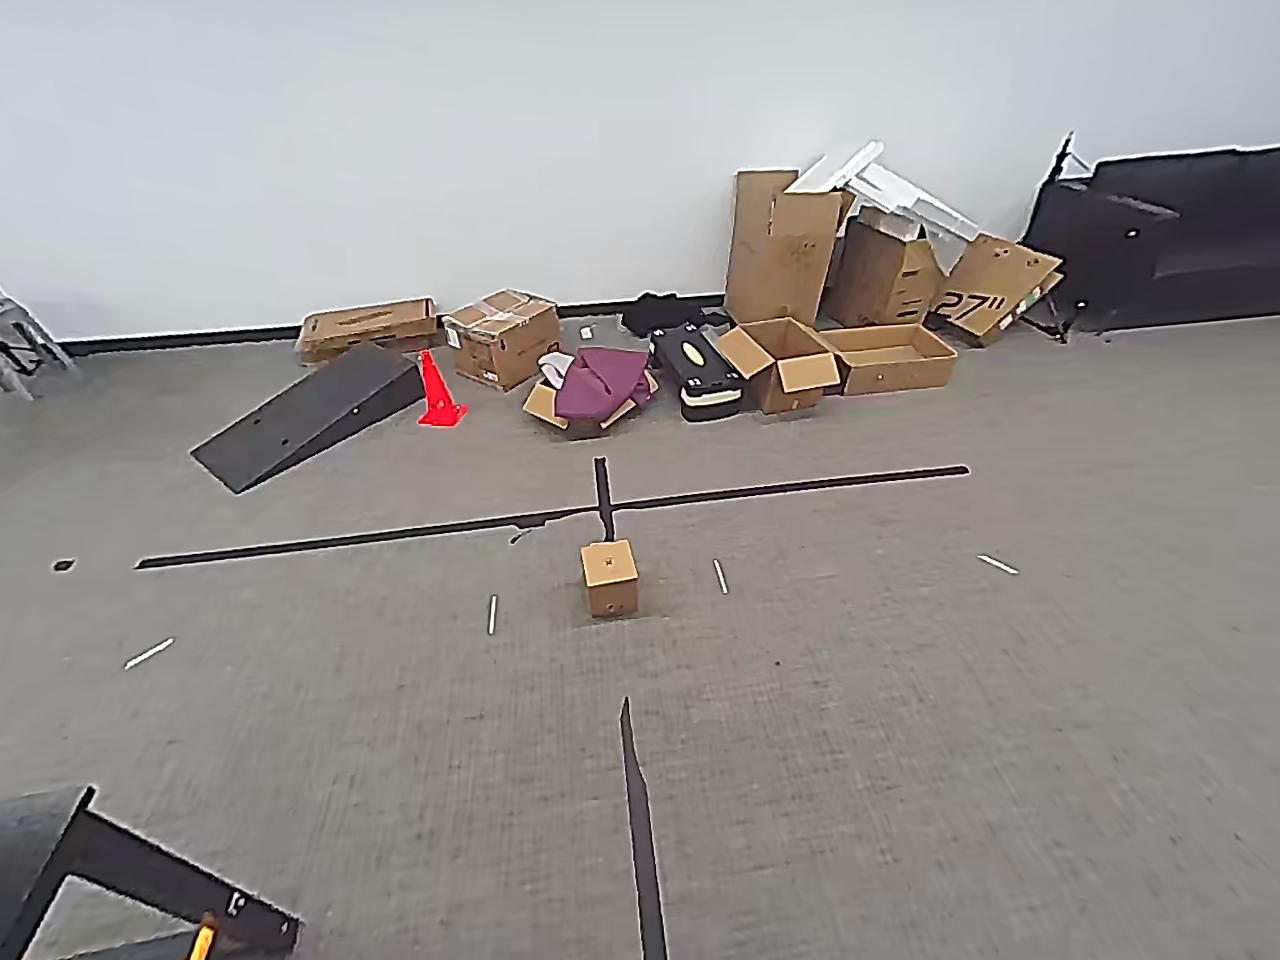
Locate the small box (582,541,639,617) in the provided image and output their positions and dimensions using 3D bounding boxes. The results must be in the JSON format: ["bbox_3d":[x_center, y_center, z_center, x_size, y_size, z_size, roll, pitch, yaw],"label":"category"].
[{"bbox_3d":[-0.100,0.335,1.830,0.168,0.176,0.179,-10,42,-9],"label":"small box"}]
